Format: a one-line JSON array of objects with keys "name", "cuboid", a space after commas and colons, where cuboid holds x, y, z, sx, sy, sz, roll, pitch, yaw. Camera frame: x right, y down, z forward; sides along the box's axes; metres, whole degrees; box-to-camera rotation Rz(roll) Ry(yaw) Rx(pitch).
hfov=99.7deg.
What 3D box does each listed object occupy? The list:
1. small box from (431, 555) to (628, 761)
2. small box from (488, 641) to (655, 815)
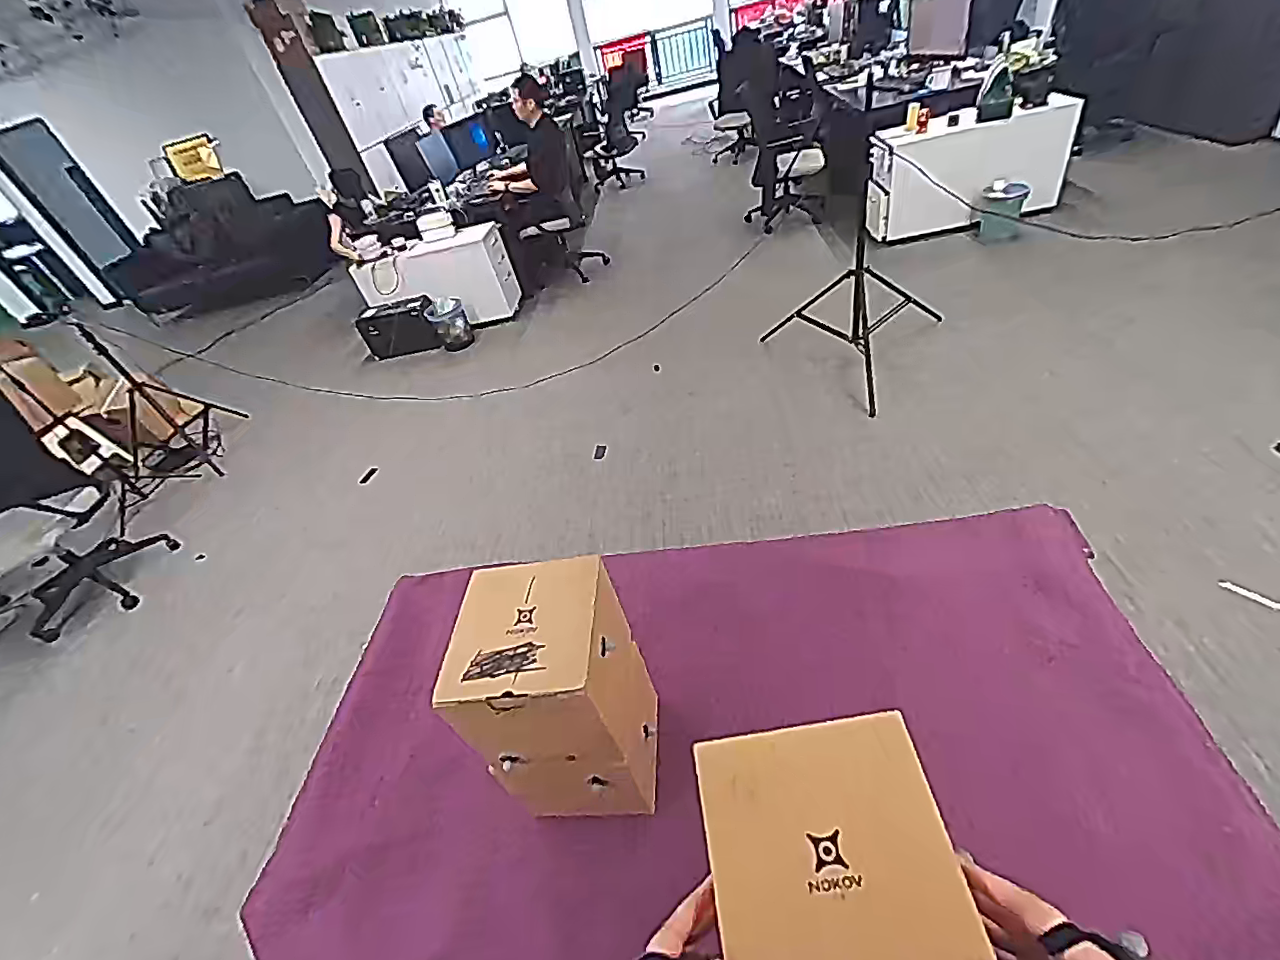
[{"name": "small box", "cuboid": [-0.113, 0.217, 0.645, 0.168, 0.176, 0.179, -8, 40, 9]}, {"name": "small box", "cuboid": [-0.078, 0.343, 0.745, 0.179, 0.176, 0.168, -7, 40, 11]}]
